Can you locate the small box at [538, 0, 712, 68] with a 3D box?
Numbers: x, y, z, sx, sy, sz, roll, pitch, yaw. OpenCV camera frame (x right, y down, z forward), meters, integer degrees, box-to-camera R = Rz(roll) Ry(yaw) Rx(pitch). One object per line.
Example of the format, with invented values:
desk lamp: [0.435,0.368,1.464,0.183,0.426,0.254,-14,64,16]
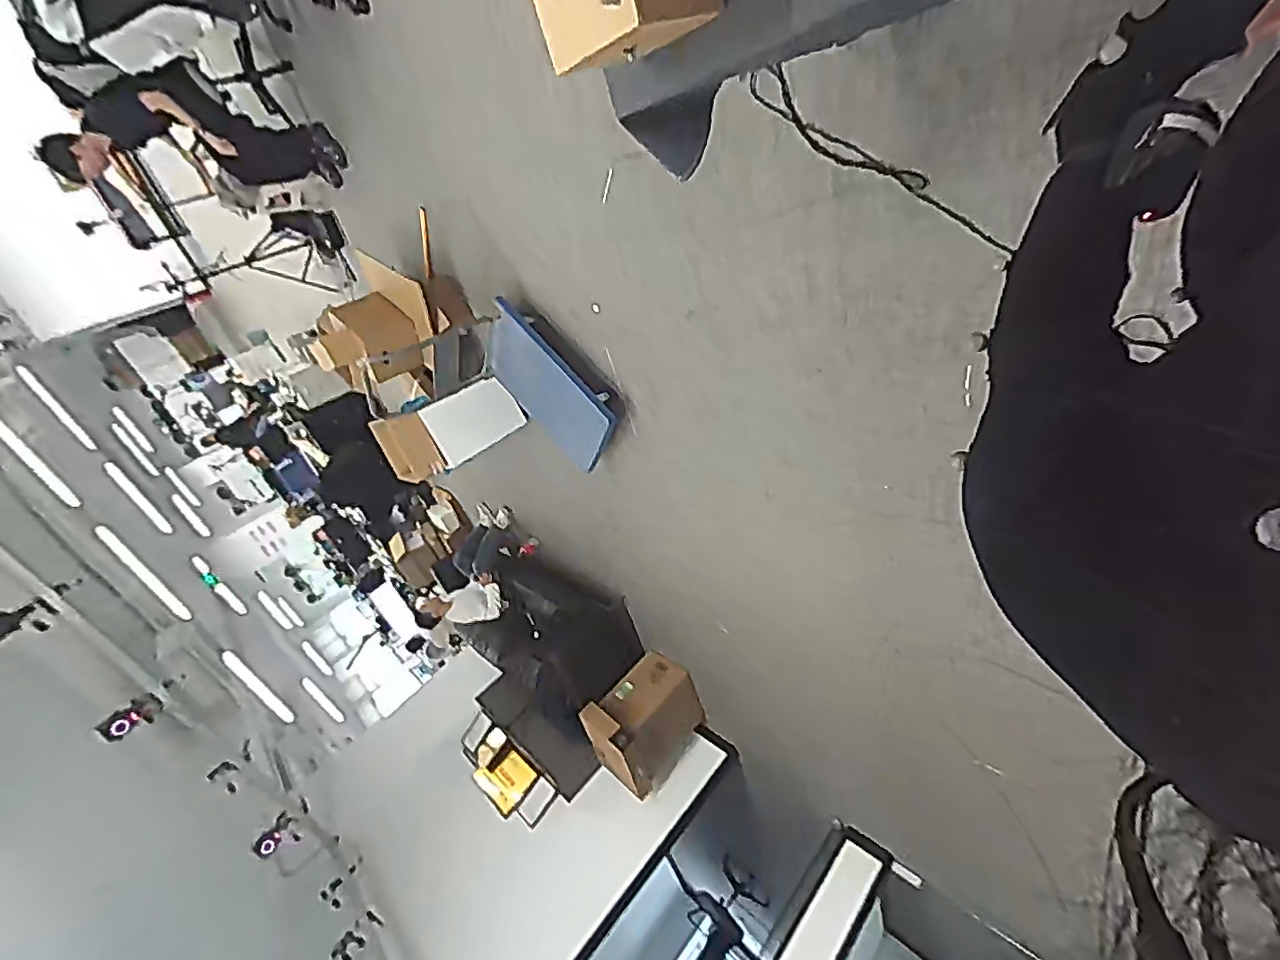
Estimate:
small box: [-0.022,-0.662,0.684,0.179,0.176,0.168,15,134,46]
